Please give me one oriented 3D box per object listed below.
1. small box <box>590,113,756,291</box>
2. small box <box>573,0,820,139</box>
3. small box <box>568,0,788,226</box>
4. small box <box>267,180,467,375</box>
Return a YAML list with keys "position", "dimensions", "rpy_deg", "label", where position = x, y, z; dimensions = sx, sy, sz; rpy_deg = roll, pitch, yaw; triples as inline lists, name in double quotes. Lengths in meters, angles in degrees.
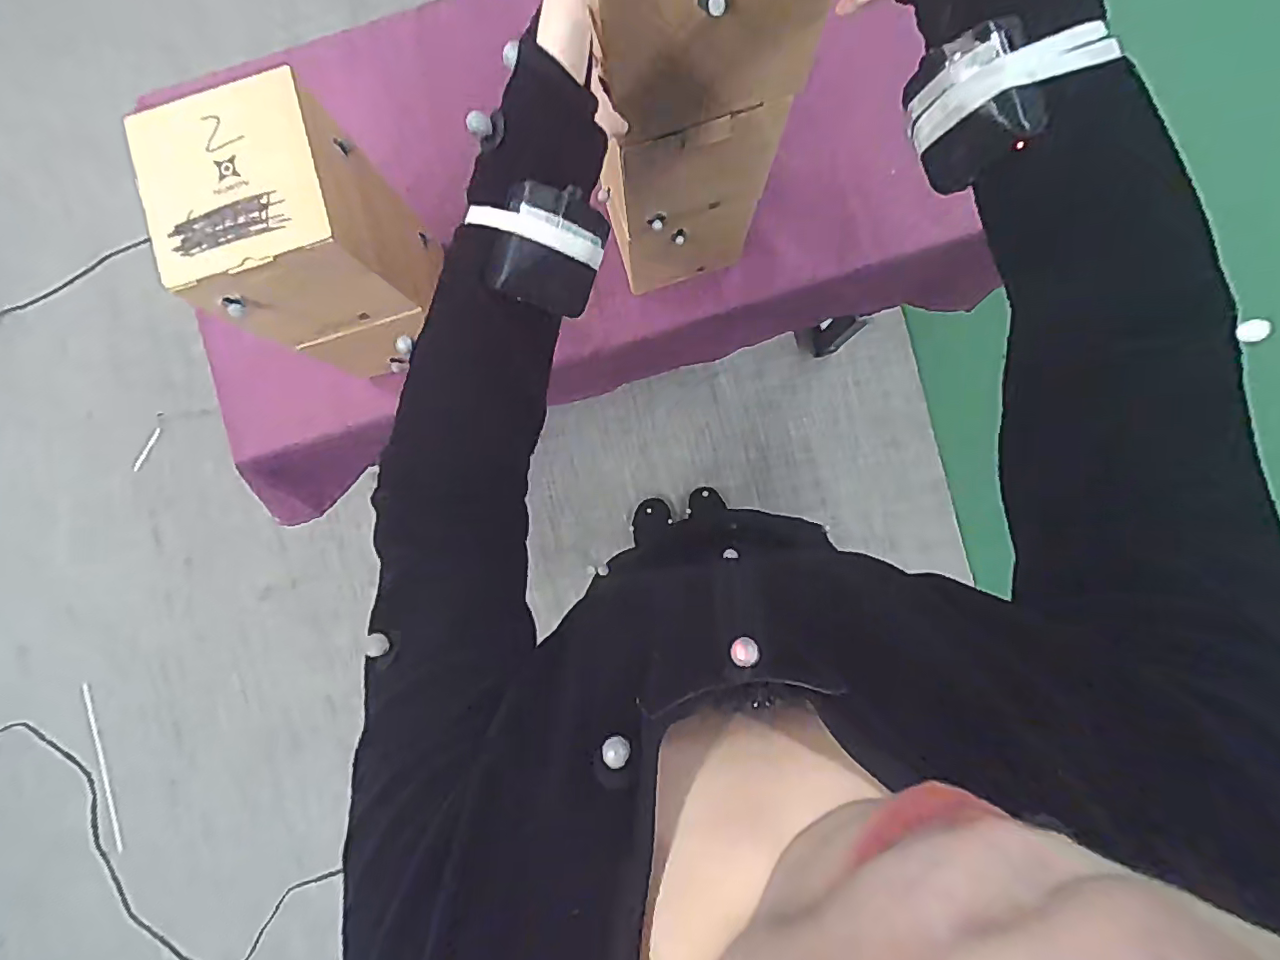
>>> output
- position: [0.042, -0.388, 0.731]
  dimensions: [0.168, 0.176, 0.179]
  rpy_deg: [-17, 86, 3]
  label: "small box"
- position: [0.033, -0.398, 0.402]
  dimensions: [0.179, 0.176, 0.168]
  rpy_deg: [-16, 89, 1]
  label: "small box"
- position: [0.037, -0.396, 0.567]
  dimensions: [0.168, 0.176, 0.179]
  rpy_deg: [-17, 87, 2]
  label: "small box"
- position: [-0.360, -0.264, 0.742]
  dimensions: [0.168, 0.176, 0.179]
  rpy_deg: [-16, 88, 2]
  label: "small box"
